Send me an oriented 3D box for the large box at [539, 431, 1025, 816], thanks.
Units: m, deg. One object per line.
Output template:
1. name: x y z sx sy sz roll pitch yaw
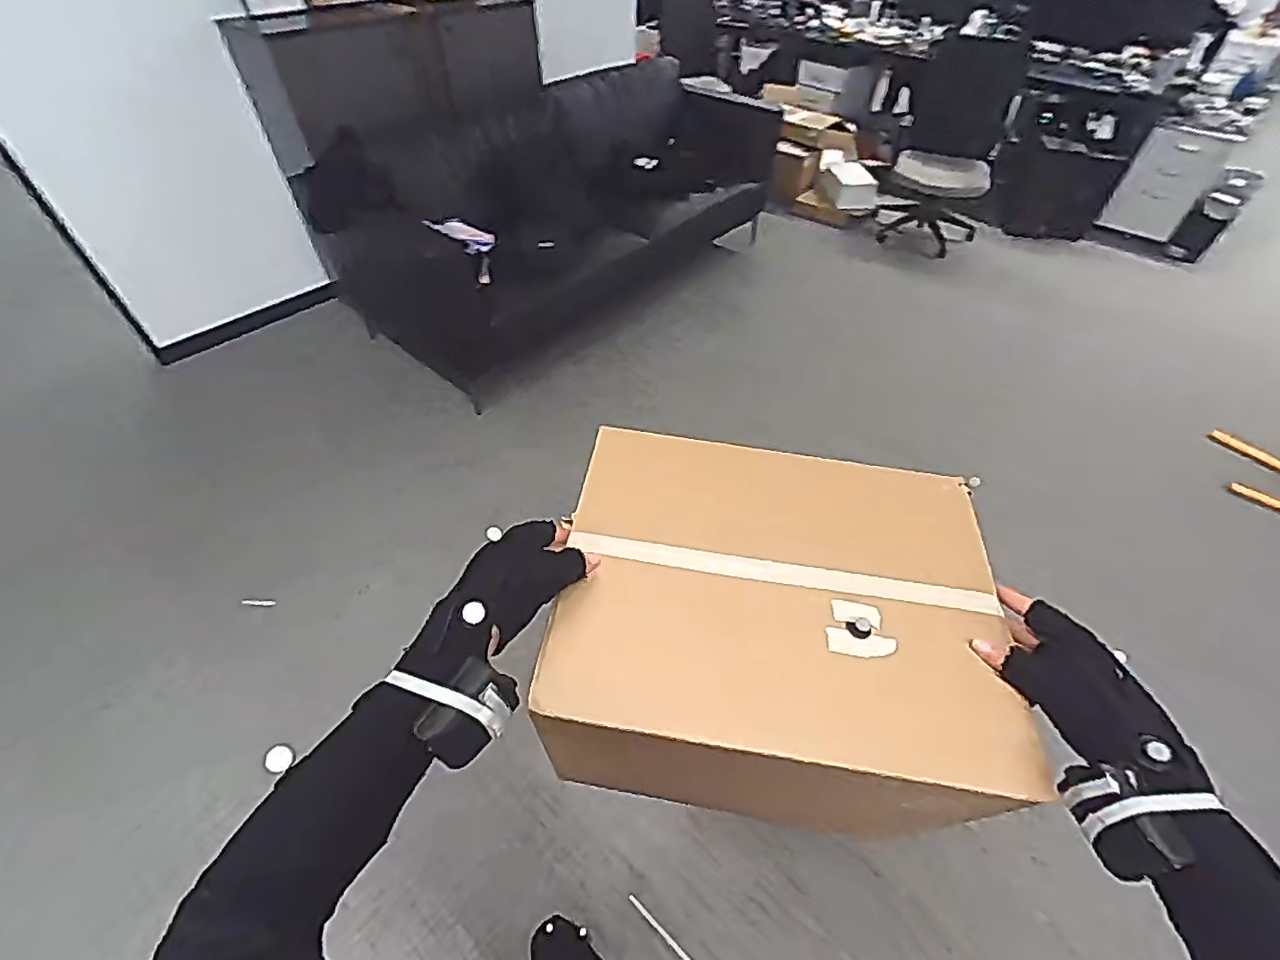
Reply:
1. large box: 0.118 0.177 0.641 0.408 0.320 0.320 8 53 2
